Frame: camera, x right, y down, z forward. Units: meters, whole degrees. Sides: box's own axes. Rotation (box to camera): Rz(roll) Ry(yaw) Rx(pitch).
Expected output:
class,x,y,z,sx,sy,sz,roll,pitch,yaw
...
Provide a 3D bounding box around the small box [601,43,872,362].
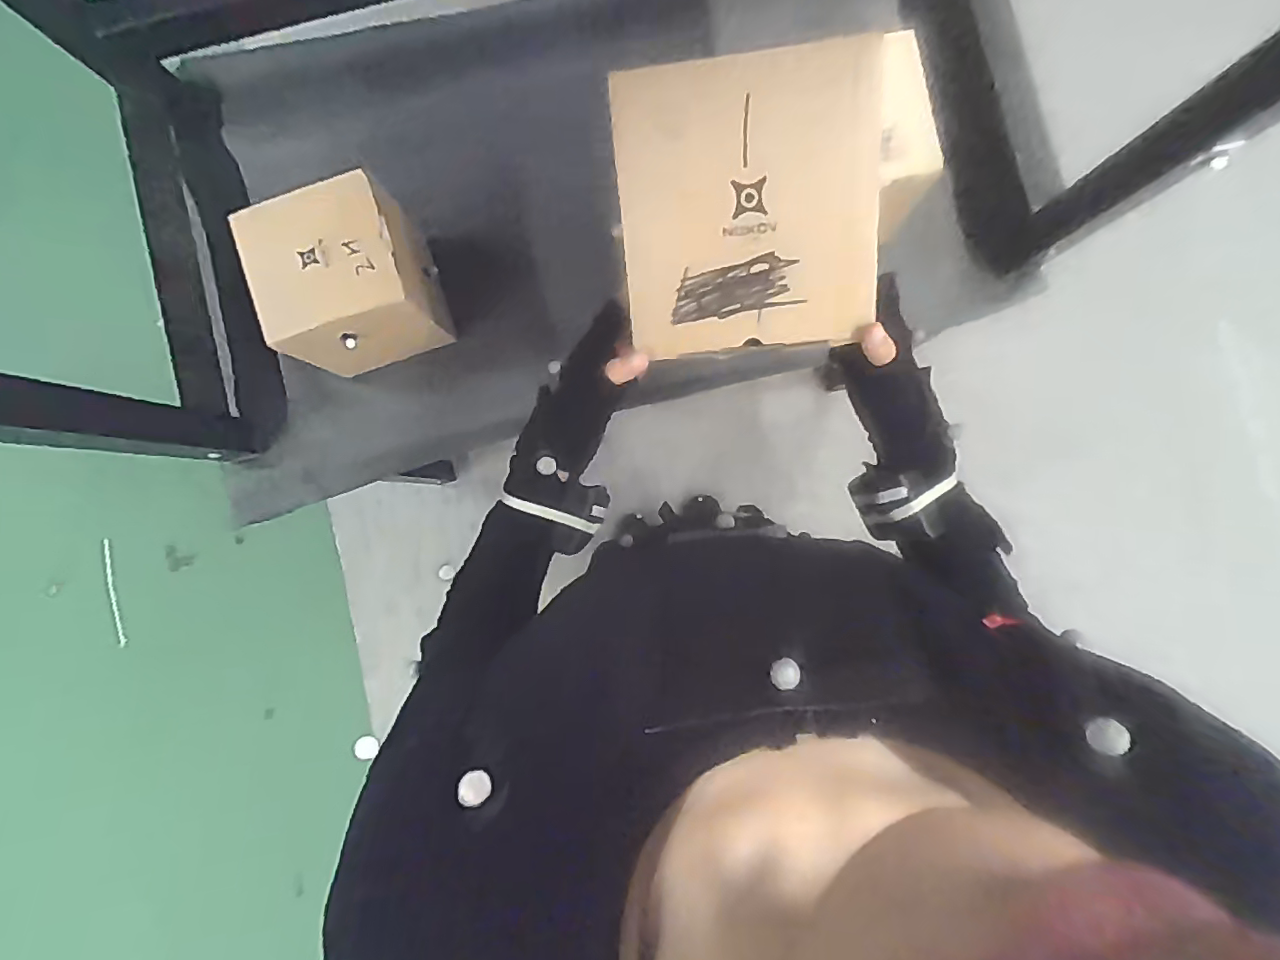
class,x,y,z,sx,sy,sz,roll,pitch,yaw
small box,0.069,-0.196,0.427,0.168,0.176,0.179,-4,107,5

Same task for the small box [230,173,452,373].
class,x,y,z,sx,sy,sz,roll,pitch,yaw
small box,-0.378,-0.256,0.713,0.179,0.176,0.168,-18,88,0
